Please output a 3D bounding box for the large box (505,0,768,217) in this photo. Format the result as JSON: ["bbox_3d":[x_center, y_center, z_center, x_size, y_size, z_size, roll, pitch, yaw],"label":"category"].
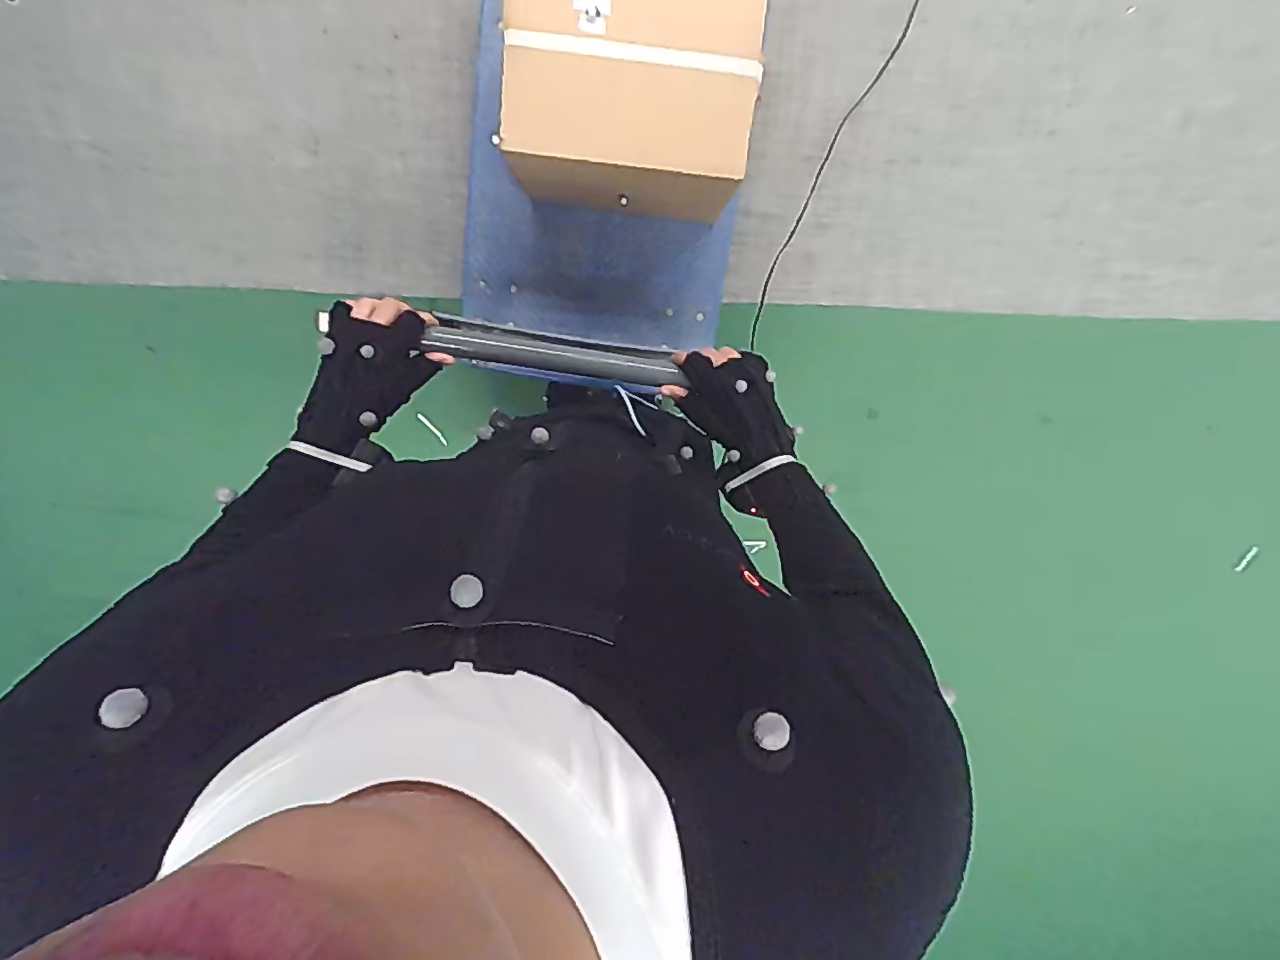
[{"bbox_3d":[-0.009,-0.700,0.998,0.408,0.320,0.320,6,102,-3],"label":"large box"}]
